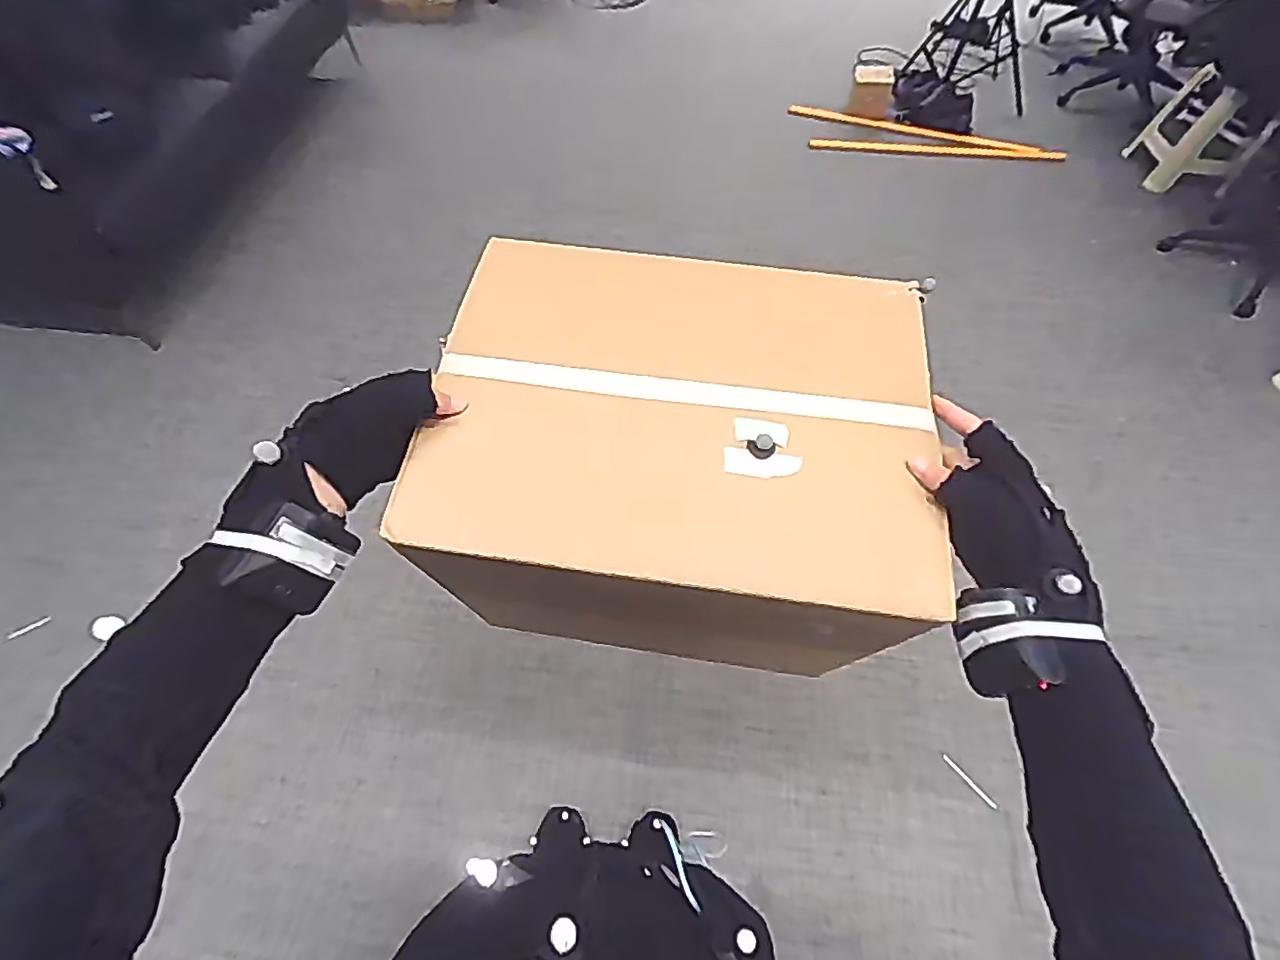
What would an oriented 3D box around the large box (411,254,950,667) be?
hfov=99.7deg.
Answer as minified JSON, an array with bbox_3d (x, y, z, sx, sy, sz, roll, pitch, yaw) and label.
[{"bbox_3d":[0.039,0.000,0.589,0.408,0.320,0.320,8,64,3],"label":"large box"}]
